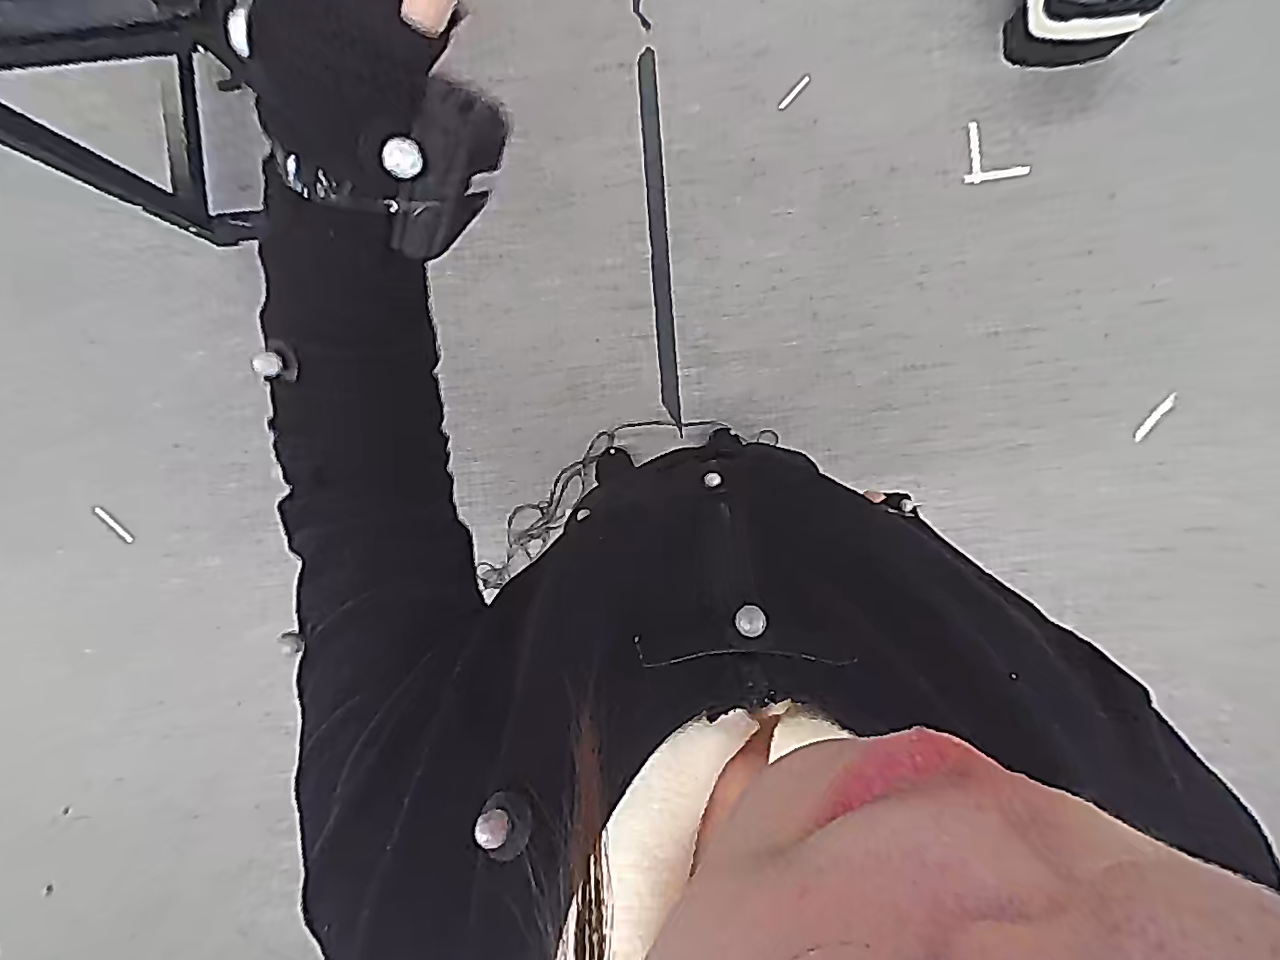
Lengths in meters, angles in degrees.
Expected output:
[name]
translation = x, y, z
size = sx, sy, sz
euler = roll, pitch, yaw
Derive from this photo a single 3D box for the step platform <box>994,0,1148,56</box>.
[step platform]
translation = 1.074, -1.448, 1.308
size = 0.286, 0.204, 0.684
euler = 1, 92, 1
